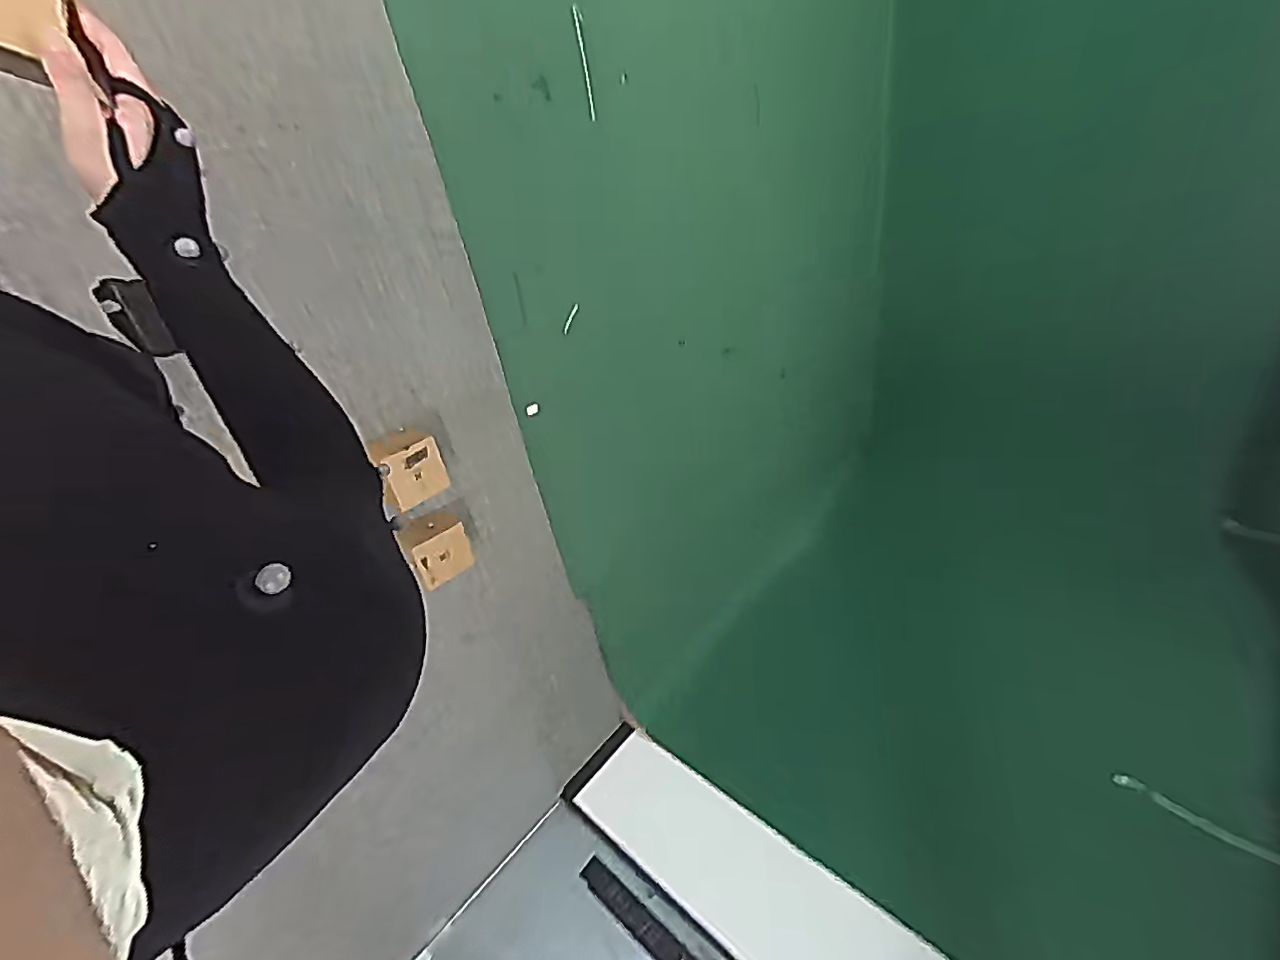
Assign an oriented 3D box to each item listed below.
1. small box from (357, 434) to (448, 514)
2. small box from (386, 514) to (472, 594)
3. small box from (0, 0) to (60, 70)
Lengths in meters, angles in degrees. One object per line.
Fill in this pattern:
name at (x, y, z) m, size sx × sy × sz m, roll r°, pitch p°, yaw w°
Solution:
small box at (-0.709, -0.028, 1.611) m, size 0.168 × 0.176 × 0.179 m, roll -34°, pitch 128°, yaw -36°
small box at (-0.677, 0.230, 1.739) m, size 0.179 × 0.176 × 0.168 m, roll -33°, pitch 126°, yaw -38°
small box at (-0.497, -0.389, 0.335) m, size 0.179 × 0.176 × 0.168 m, roll -5°, pitch 114°, yaw -47°
